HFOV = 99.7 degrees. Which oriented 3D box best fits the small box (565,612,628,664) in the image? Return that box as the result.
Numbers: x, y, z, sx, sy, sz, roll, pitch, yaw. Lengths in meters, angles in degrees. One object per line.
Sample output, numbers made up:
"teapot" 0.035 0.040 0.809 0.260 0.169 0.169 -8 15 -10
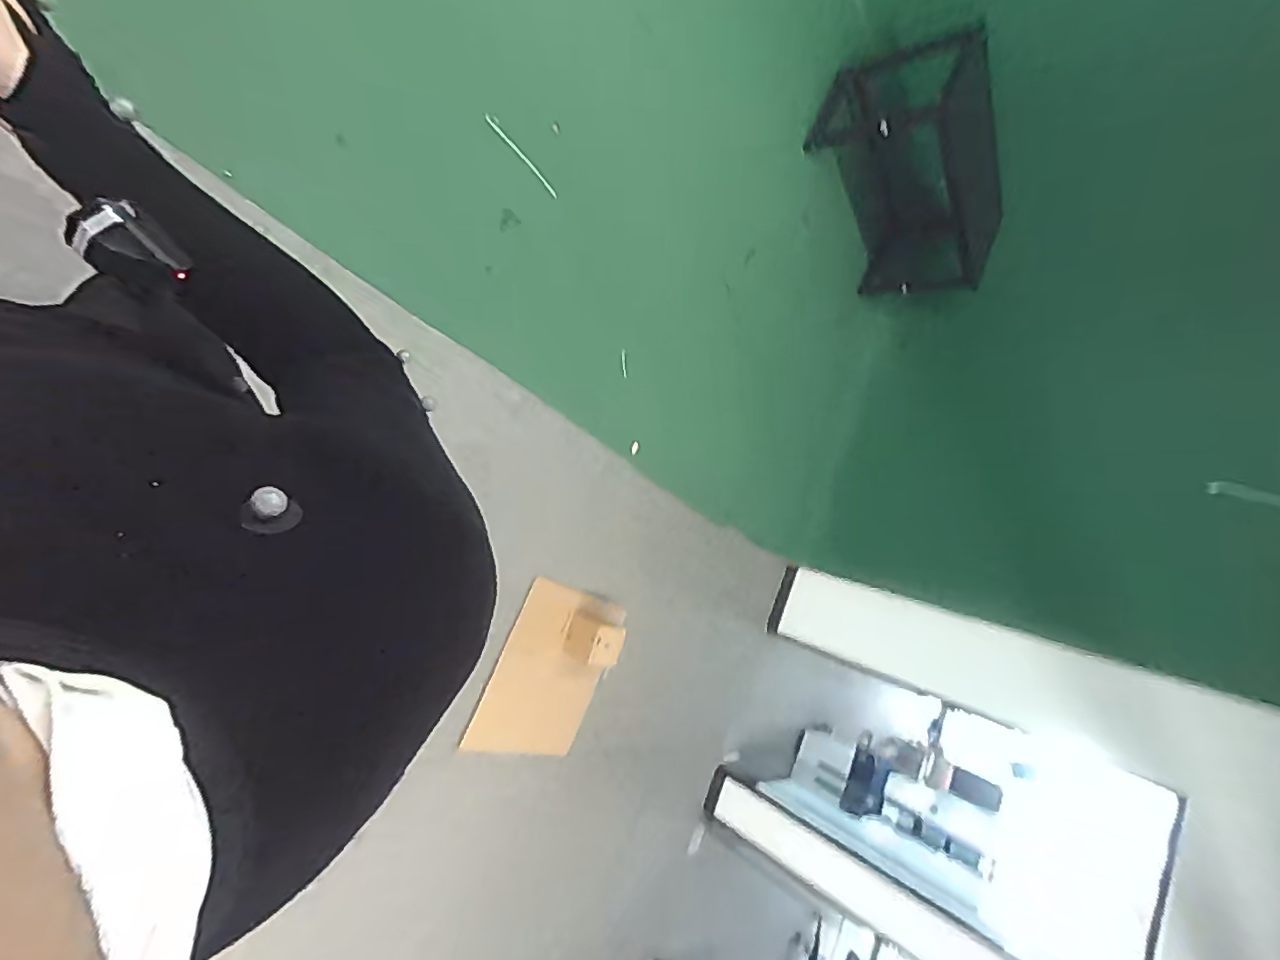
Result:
"small box" -0.186 0.669 2.298 0.179 0.176 0.168 24 83 -48
